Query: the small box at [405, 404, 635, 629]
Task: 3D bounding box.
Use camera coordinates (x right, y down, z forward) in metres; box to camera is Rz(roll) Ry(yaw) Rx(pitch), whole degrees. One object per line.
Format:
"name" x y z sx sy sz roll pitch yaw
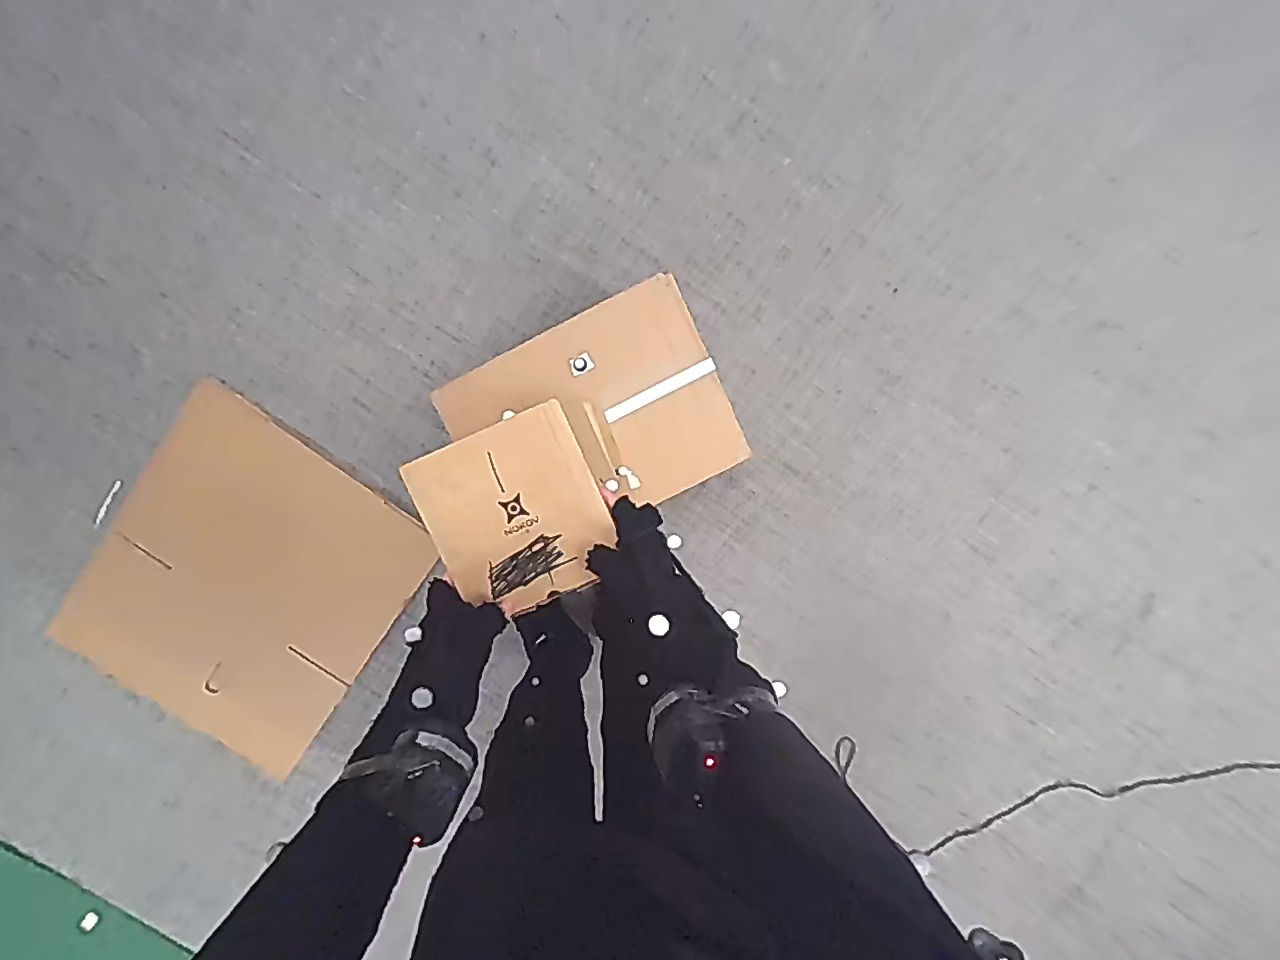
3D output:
"small box" -0.113 0.026 0.597 0.168 0.176 0.179 -27 97 5

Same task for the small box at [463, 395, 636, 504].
"small box" -0.114 -0.008 0.760 0.179 0.176 0.168 -22 95 3
